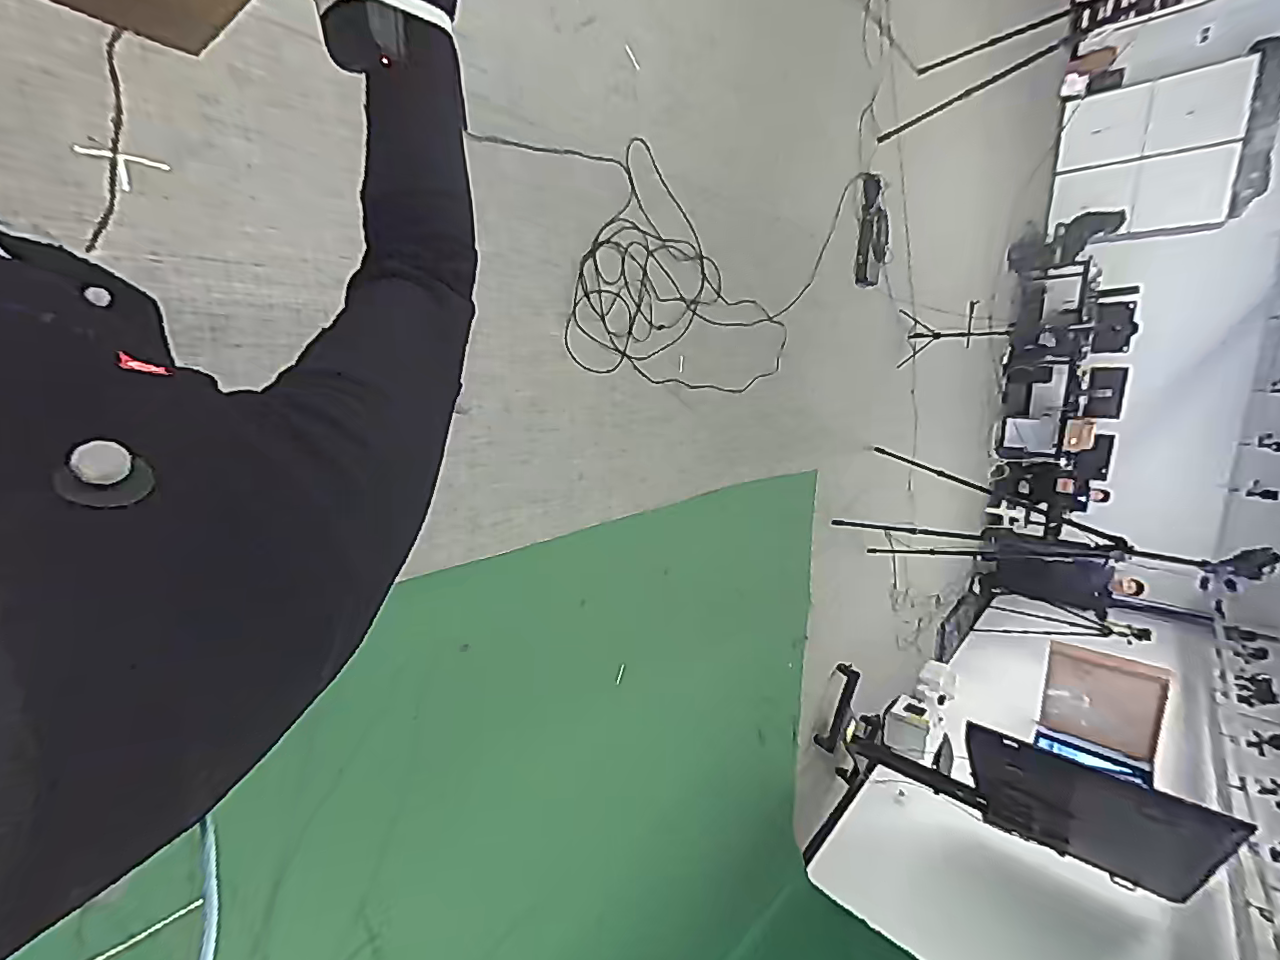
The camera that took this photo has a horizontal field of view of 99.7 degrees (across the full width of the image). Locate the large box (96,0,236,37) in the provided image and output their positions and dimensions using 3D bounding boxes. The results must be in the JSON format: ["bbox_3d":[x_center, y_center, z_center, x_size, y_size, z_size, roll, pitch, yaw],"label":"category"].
[{"bbox_3d":[-0.417,-0.494,0.231,0.408,0.320,0.320,-9,113,-47],"label":"large box"}]
